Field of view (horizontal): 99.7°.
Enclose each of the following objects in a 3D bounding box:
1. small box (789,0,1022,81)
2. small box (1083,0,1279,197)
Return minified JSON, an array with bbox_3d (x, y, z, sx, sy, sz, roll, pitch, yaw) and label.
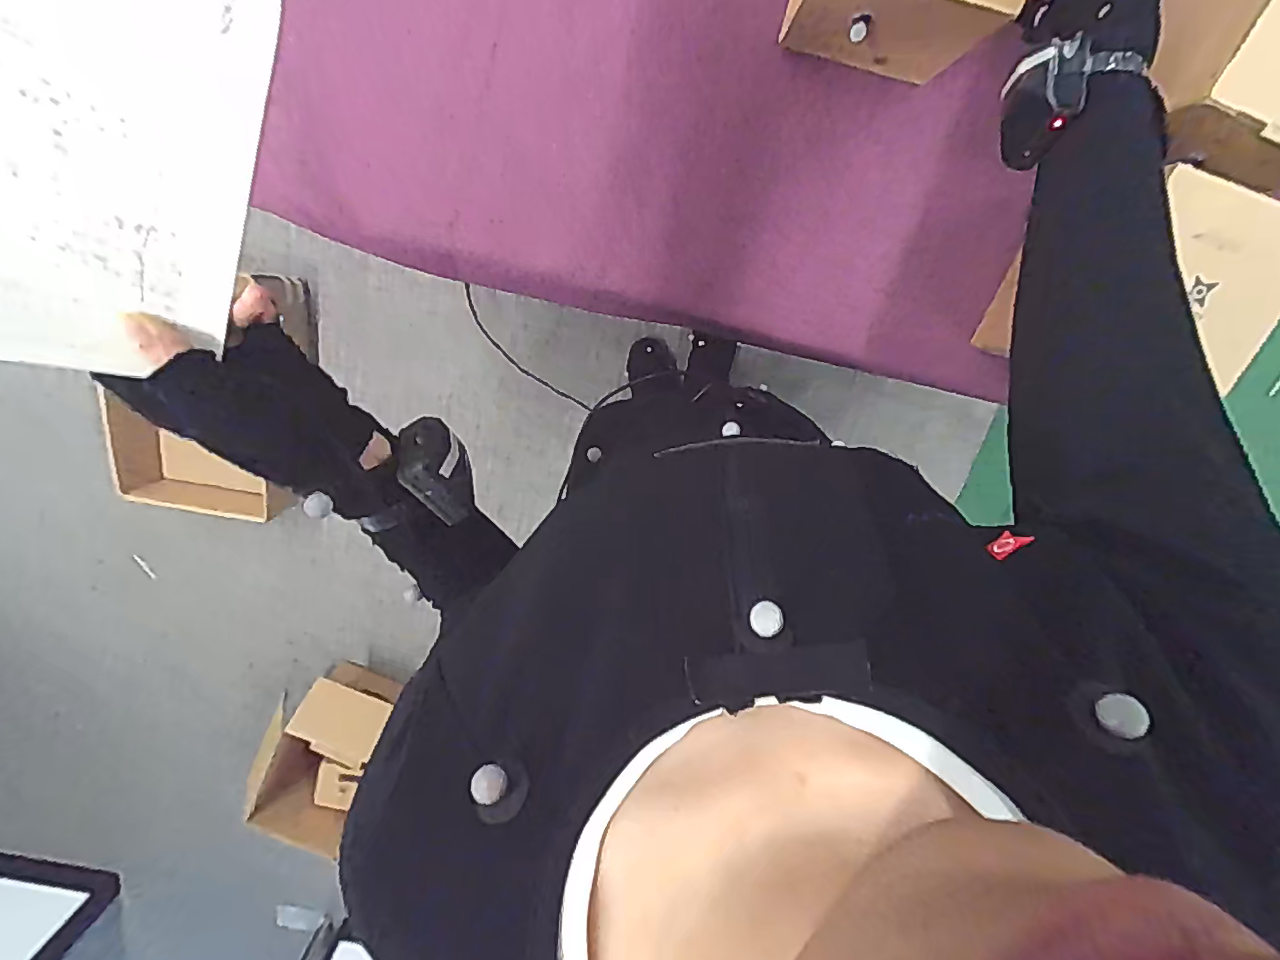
[{"bbox_3d":[0.243,-0.489,0.471,0.168,0.176,0.179,14,109,-2],"label":"small box"},{"bbox_3d":[0.565,-0.382,0.492,0.168,0.176,0.179,20,110,-5],"label":"small box"}]
